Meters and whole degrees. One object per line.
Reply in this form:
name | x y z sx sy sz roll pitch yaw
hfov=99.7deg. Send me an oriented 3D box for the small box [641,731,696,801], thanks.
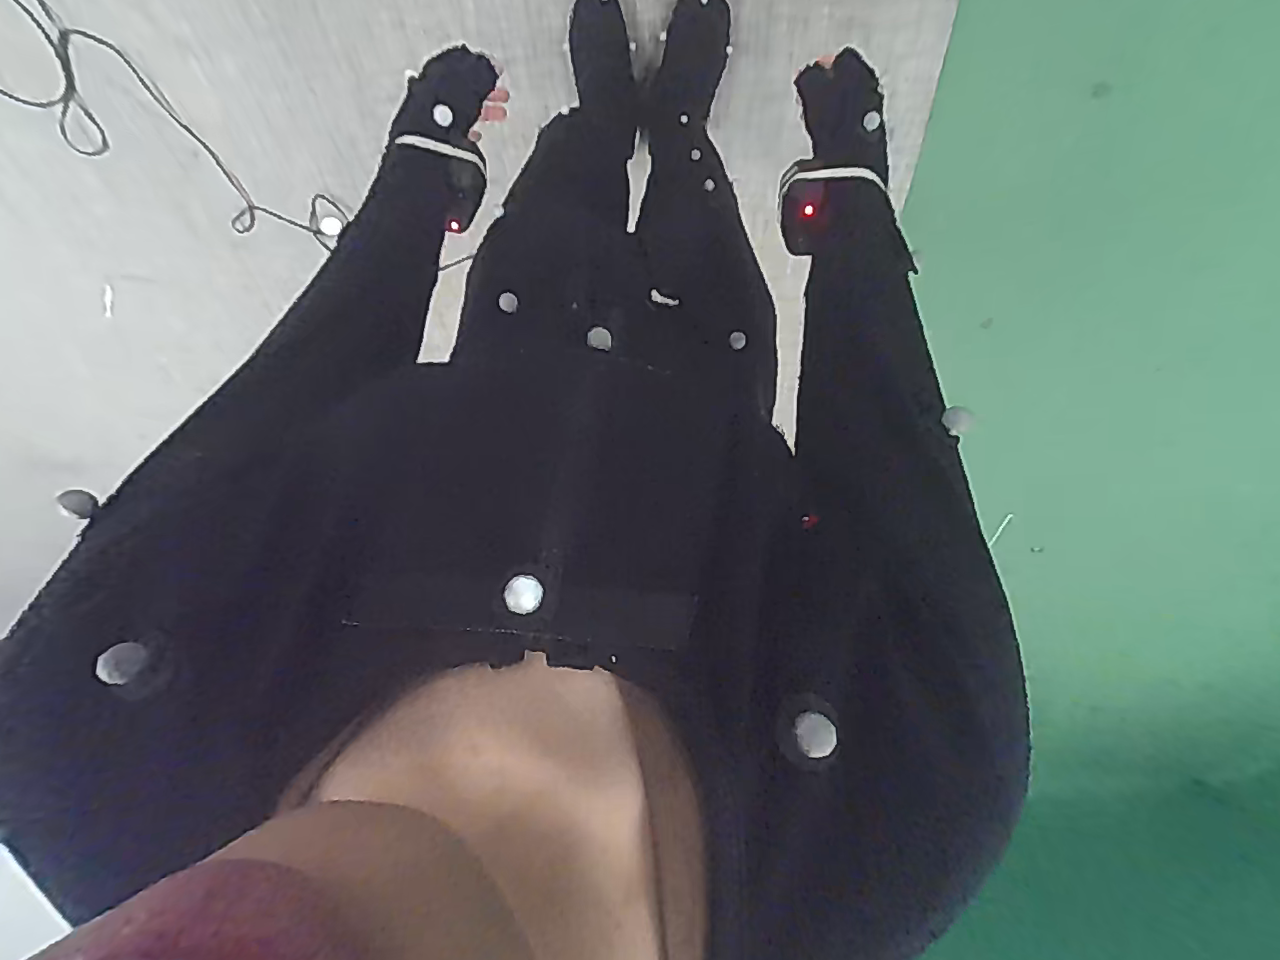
small box | 0.102 0.970 1.833 0.168 0.176 0.179 0 139 9
